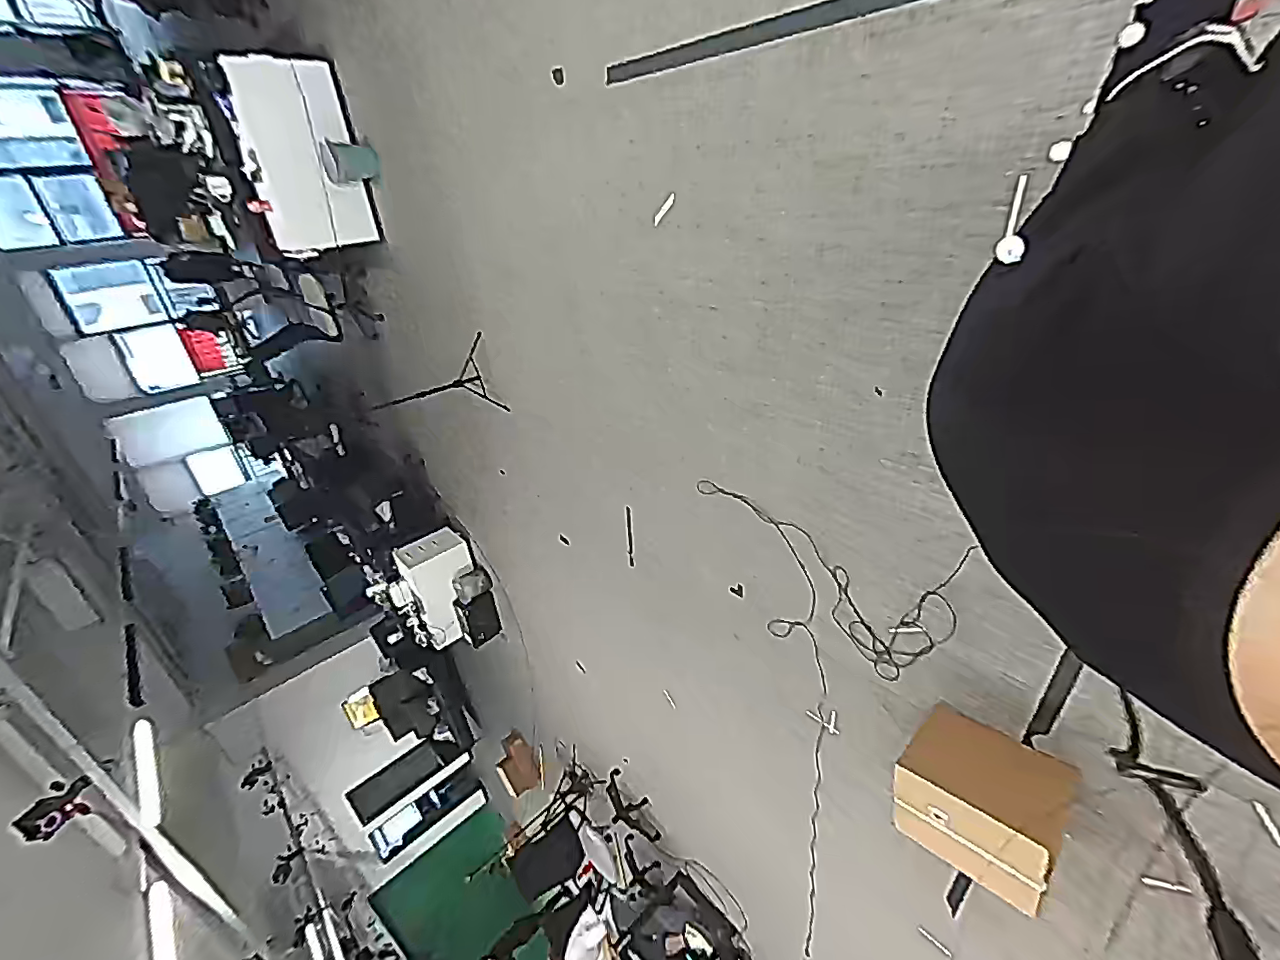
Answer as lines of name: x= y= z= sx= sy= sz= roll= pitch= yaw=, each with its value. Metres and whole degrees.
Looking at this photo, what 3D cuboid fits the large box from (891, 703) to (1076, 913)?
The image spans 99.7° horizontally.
large box: x=1.053 y=0.988 z=1.682 sx=0.408 sy=0.320 sz=0.320 roll=18 pitch=126 yaw=47
